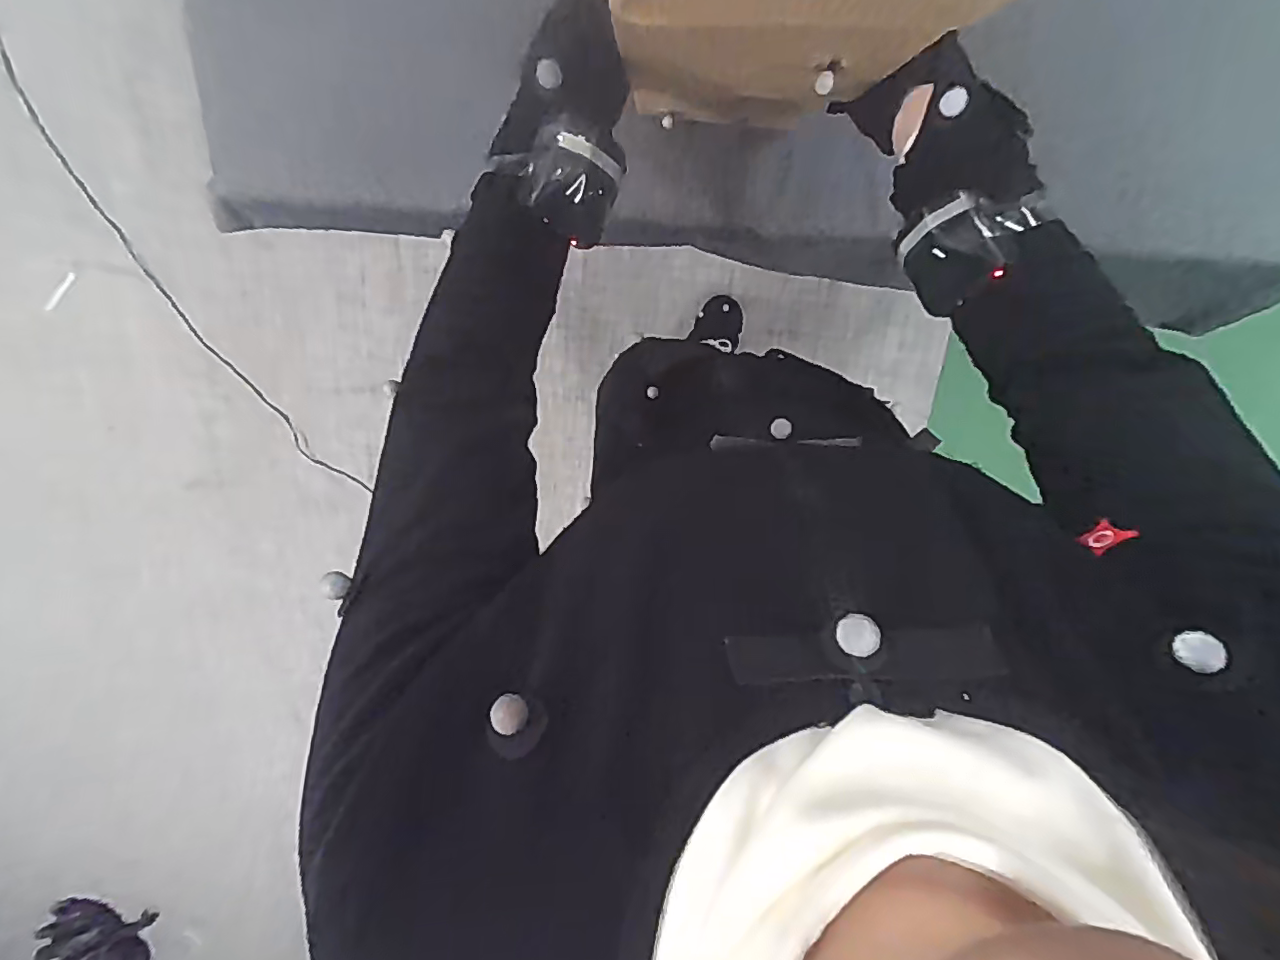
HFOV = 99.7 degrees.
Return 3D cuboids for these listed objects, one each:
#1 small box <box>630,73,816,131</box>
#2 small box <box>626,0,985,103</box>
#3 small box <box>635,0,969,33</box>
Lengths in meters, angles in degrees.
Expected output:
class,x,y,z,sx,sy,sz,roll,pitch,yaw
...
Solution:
class,x,y,z,sx,sy,sz,roll,pitch,yaw
small box,0.084,-0.418,0.461,0.168,0.176,0.179,5,112,0
small box,0.080,-0.331,0.305,0.179,0.176,0.168,-1,113,1
small box,0.077,-0.275,0.170,0.179,0.176,0.168,-2,111,2
